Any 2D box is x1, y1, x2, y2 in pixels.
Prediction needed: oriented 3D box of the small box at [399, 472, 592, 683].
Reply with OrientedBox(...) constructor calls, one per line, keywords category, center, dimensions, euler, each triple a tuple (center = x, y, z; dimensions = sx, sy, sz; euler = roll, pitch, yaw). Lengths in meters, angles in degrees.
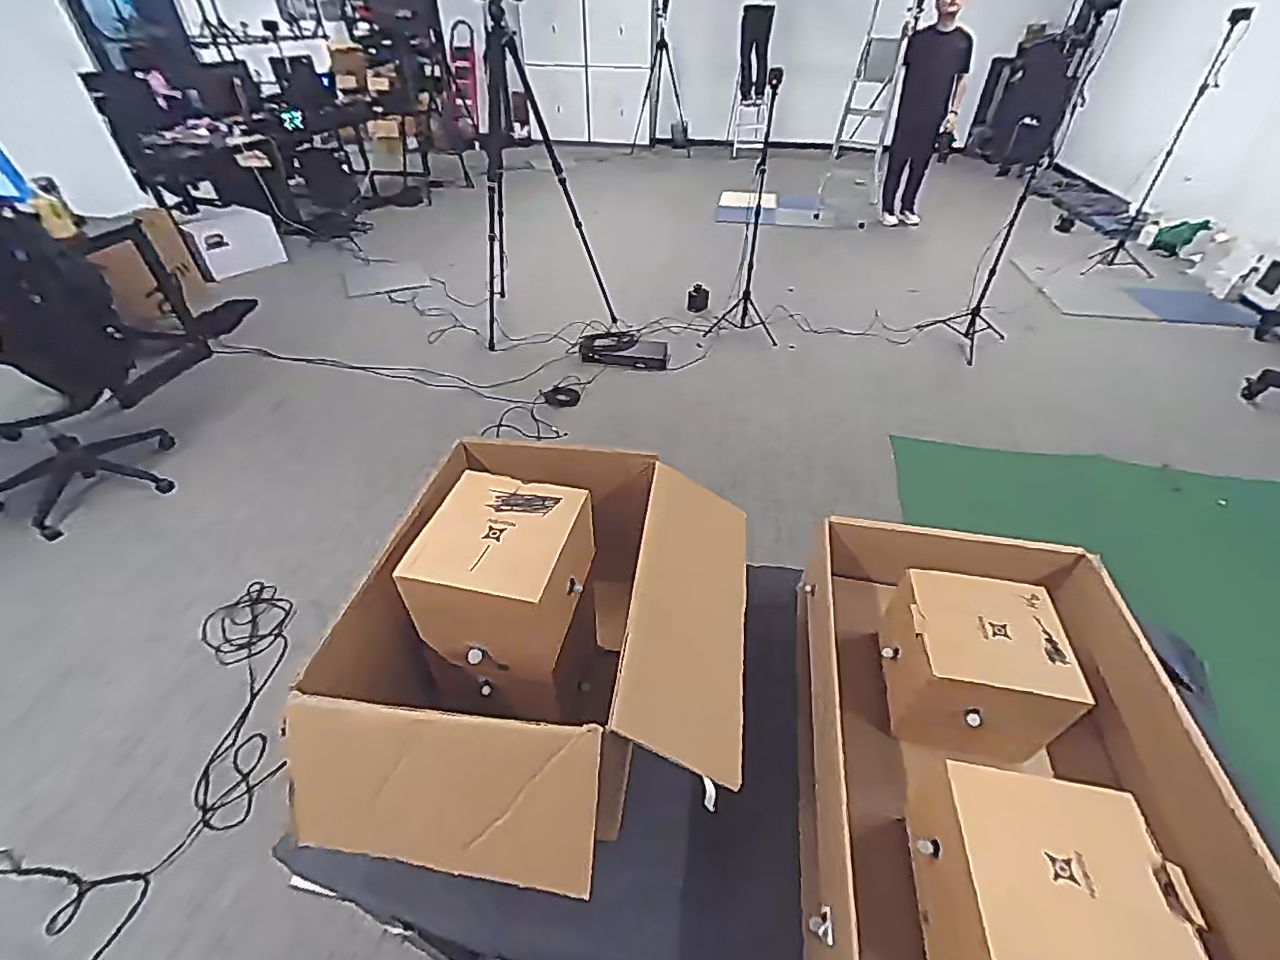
OrientedBox(category="small box", center=(-0.160, 0.118, 0.671), dimensions=(0.168, 0.176, 0.179), euler=(9, 43, 9))
